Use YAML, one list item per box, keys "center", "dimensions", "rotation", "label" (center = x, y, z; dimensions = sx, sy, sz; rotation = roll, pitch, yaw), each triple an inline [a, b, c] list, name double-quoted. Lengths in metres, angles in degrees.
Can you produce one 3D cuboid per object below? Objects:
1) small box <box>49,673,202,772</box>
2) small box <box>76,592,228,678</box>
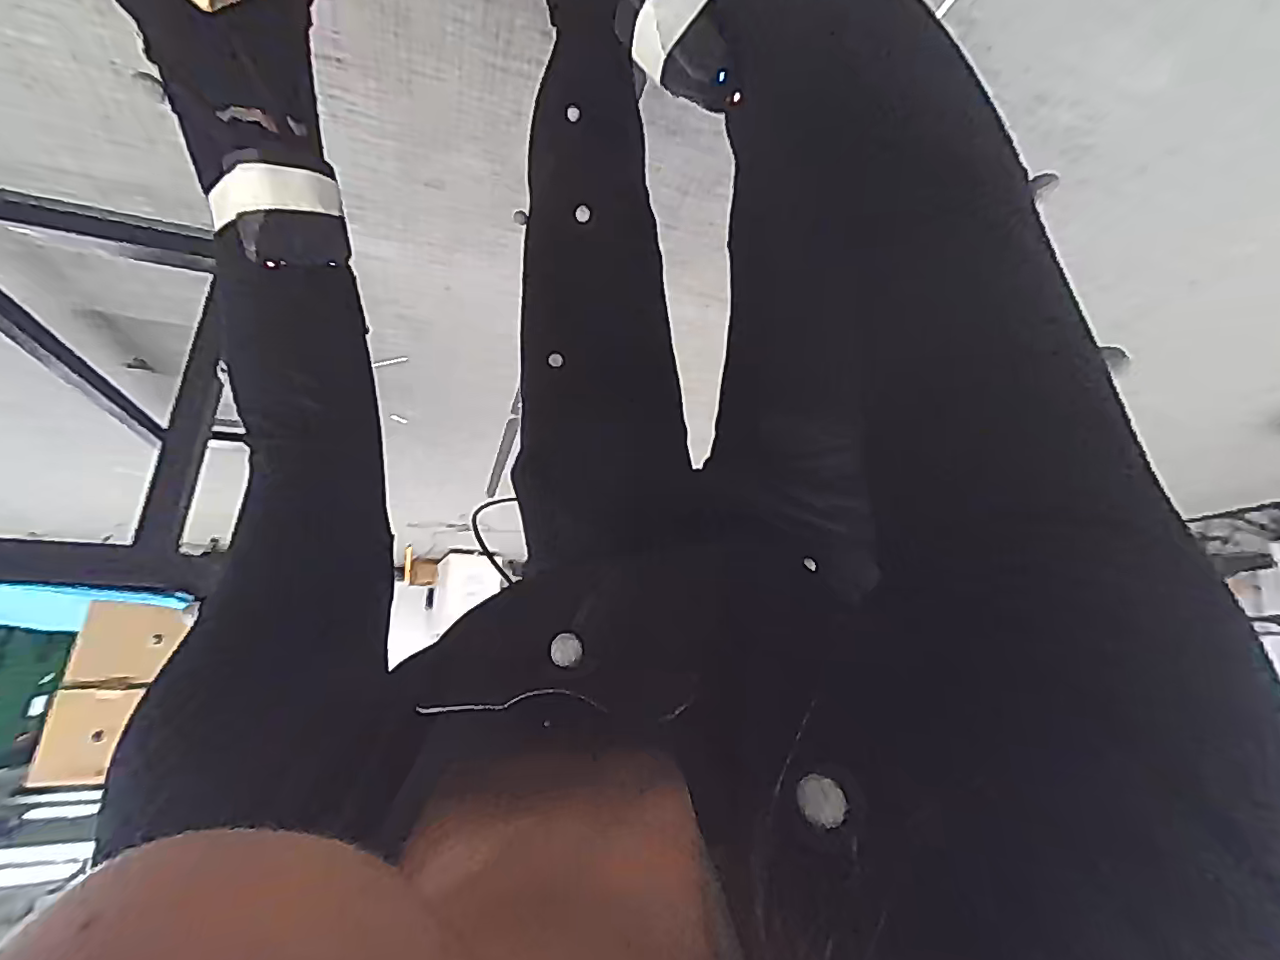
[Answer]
- center: [-1.046, 0.491, 1.109]
  dimensions: [0.168, 0.176, 0.179]
  rotation: [8, 163, -19]
  label: "small box"
- center: [-1.041, 0.338, 1.167]
  dimensions: [0.179, 0.176, 0.168]
  rotation: [6, 161, -18]
  label: "small box"
